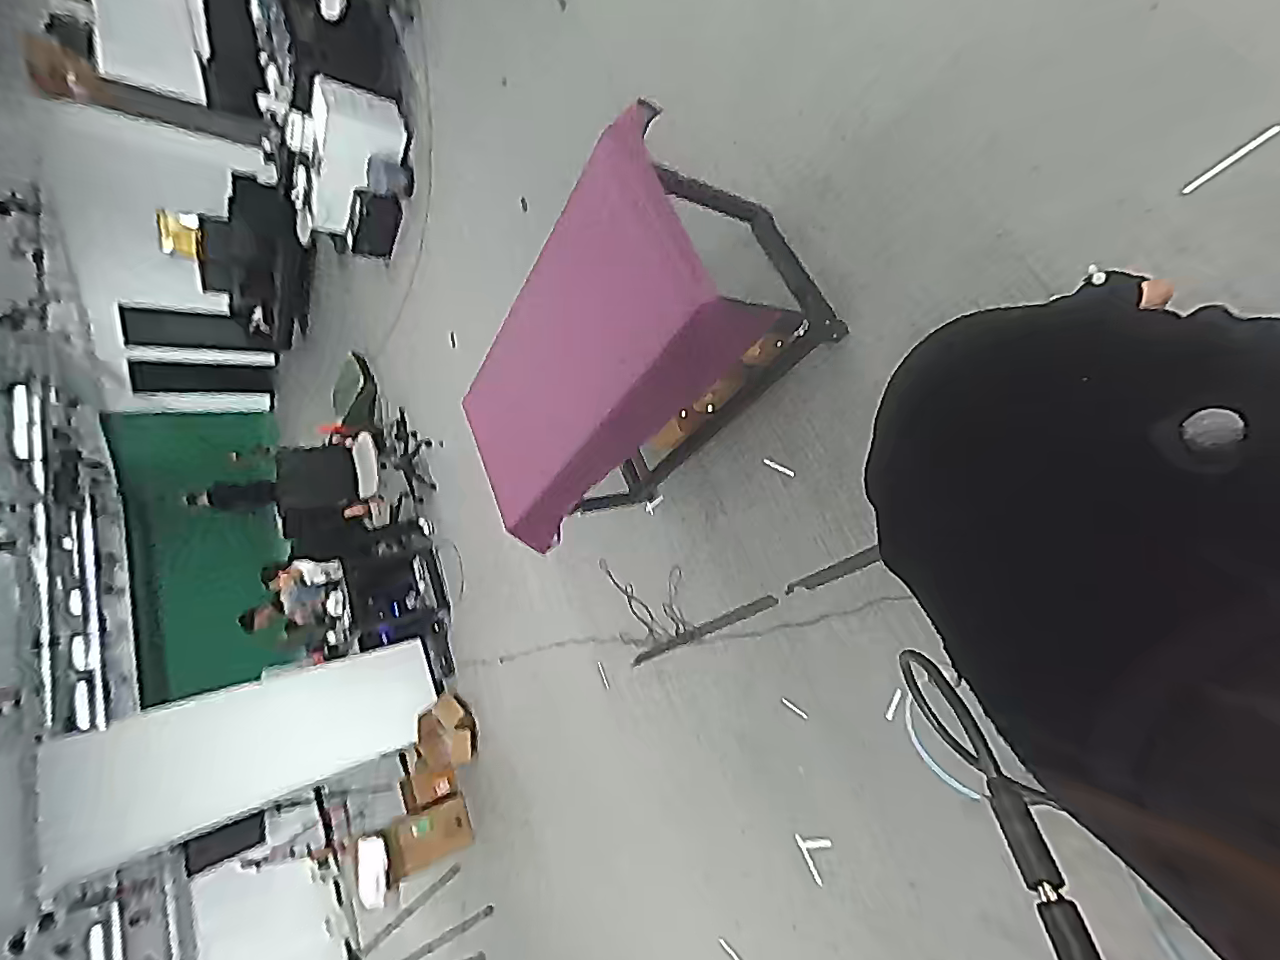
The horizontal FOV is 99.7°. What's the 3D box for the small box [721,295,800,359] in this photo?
[{"bbox_3d":[0.422,-0.531,1.890,0.179,0.176,0.168,42,126,38],"label":"small box"}]
